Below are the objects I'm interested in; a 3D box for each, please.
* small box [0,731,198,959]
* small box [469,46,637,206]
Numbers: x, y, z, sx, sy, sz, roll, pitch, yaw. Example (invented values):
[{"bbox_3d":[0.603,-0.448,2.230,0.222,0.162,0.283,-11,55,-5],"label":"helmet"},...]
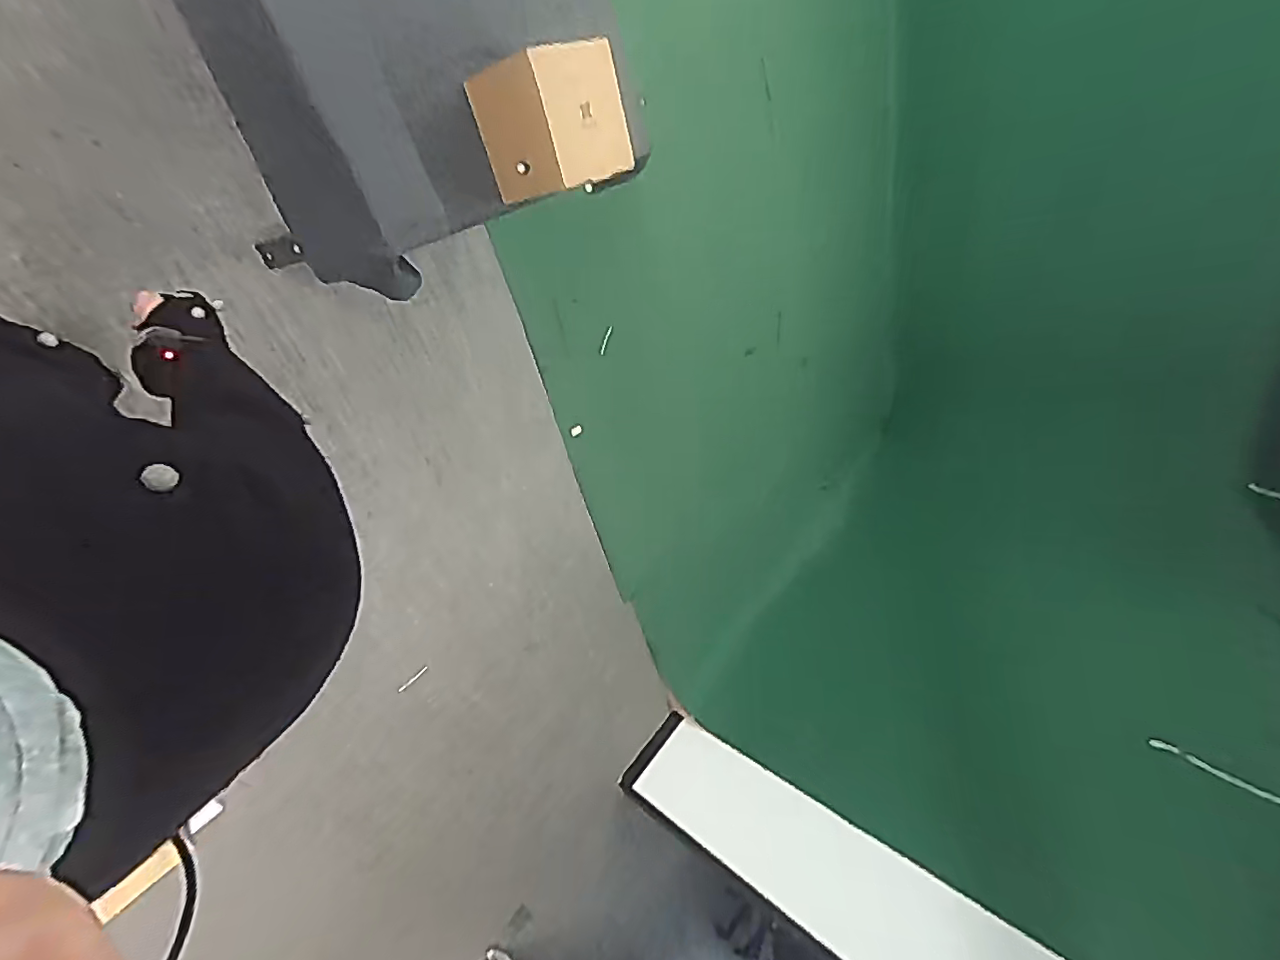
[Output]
[{"bbox_3d":[-0.743,0.483,0.720,0.179,0.176,0.168,-38,128,-32],"label":"small box"},{"bbox_3d":[-0.136,-0.551,0.859,0.168,0.176,0.179,-41,127,-34],"label":"small box"}]
